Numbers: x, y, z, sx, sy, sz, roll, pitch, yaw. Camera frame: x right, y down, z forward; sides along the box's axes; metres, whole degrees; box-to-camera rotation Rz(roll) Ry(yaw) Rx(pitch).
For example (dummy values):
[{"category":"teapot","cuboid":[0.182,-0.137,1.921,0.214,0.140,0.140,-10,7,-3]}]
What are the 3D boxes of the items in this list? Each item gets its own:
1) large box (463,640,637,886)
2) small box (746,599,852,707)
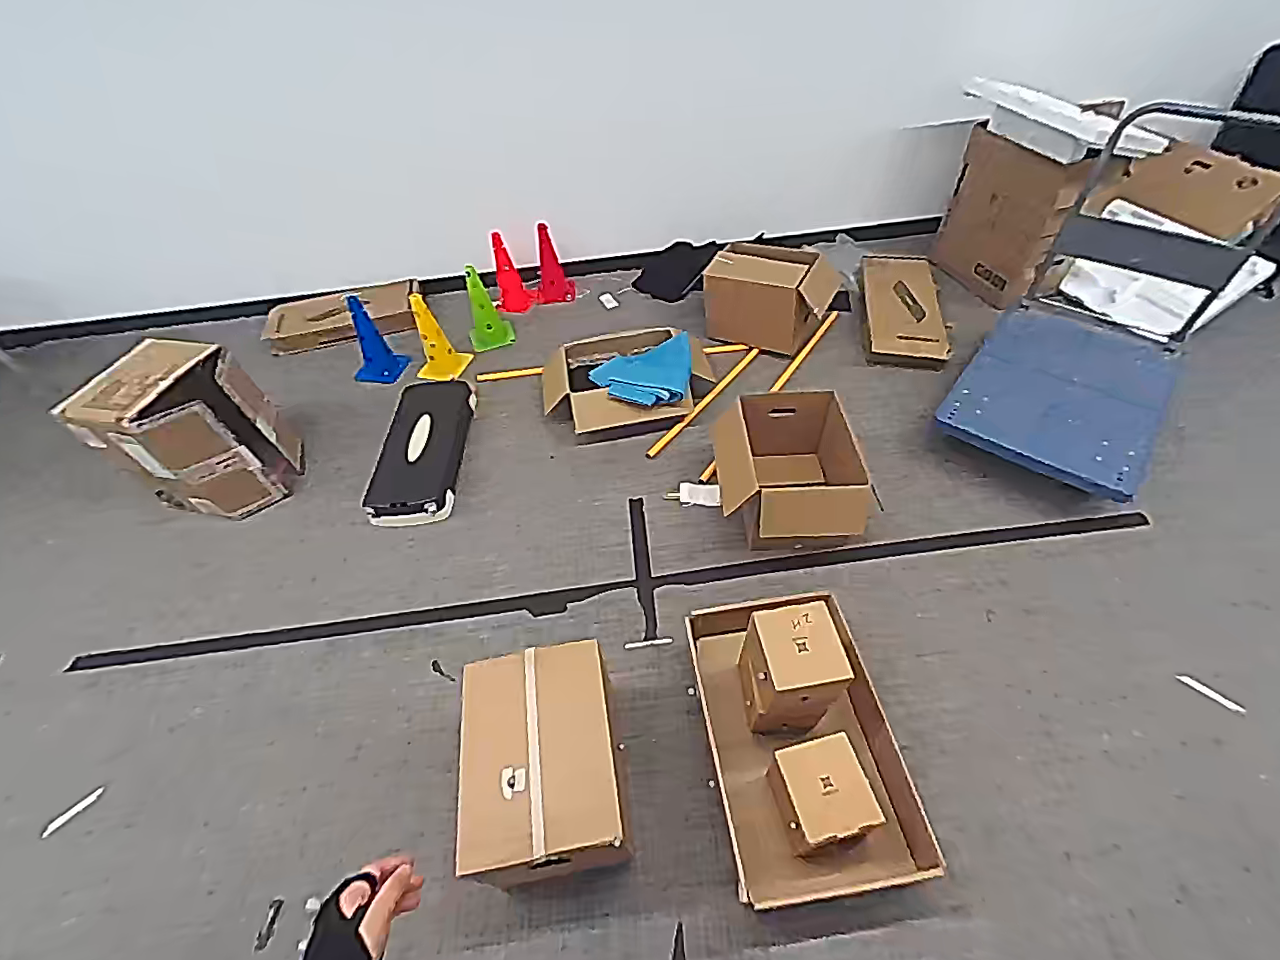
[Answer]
[{"category":"large box","cuboid":[-0.200,0.637,1.225,0.320,0.320,0.408,-11,51,-3]},{"category":"small box","cuboid":[0.341,0.389,1.196,0.168,0.176,0.179,-8,51,-4]}]
